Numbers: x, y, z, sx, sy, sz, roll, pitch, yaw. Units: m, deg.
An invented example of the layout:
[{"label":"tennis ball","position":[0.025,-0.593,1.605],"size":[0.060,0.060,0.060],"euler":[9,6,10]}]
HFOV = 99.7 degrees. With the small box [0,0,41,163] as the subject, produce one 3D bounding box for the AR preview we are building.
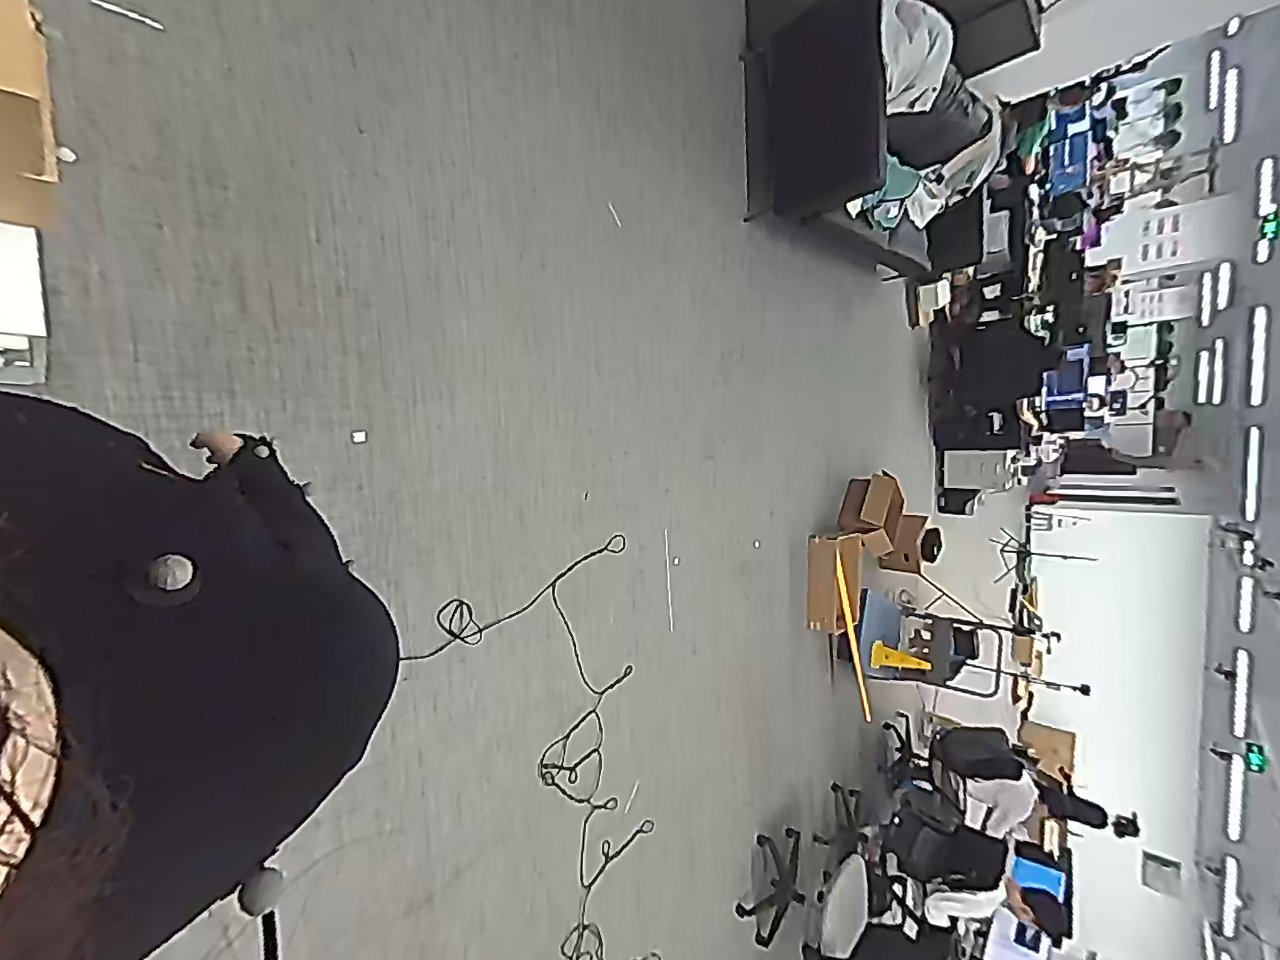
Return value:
[{"label":"small box","position":[-0.580,-0.374,0.404],"size":[0.168,0.176,0.179],"euler":[-9,98,-47]}]
